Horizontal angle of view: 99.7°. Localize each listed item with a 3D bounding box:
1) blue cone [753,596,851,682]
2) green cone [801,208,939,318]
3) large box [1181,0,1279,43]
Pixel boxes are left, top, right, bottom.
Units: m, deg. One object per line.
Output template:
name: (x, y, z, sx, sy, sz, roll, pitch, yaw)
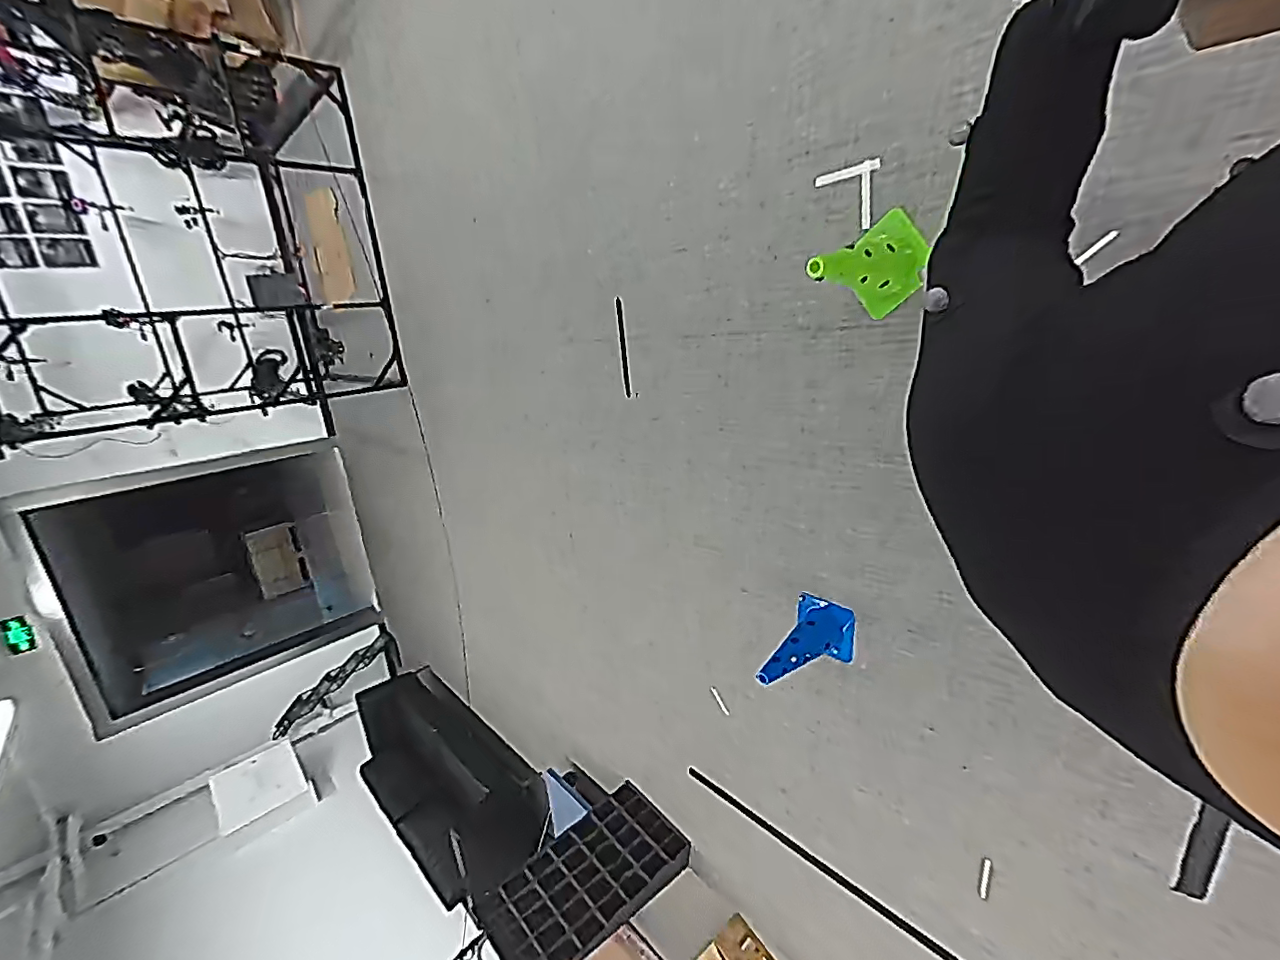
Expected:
blue cone: (0.495, 0.537, 1.714, 0.192, 0.380, 0.193, 18, 118, 45)
green cone: (0.497, -0.502, 1.265, 0.202, 0.368, 0.200, -43, 71, 50)
large box: (0.537, -0.470, 0.229, 0.408, 0.320, 0.320, 15, 120, 44)
